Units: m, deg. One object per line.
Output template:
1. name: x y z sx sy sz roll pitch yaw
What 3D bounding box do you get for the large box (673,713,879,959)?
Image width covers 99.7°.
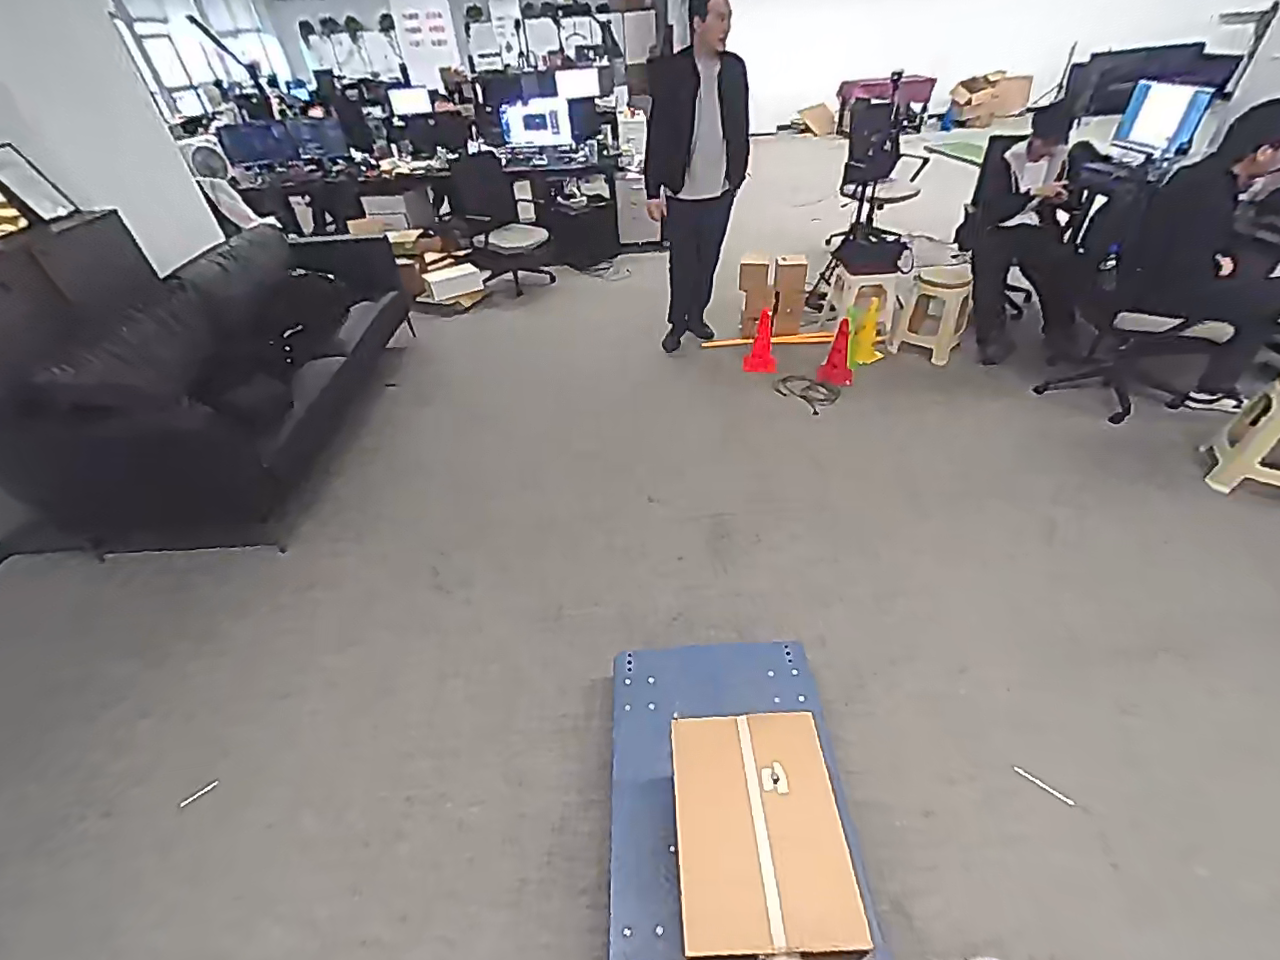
1. large box: 0.244 0.760 1.122 0.320 0.320 0.408 -3 39 1
